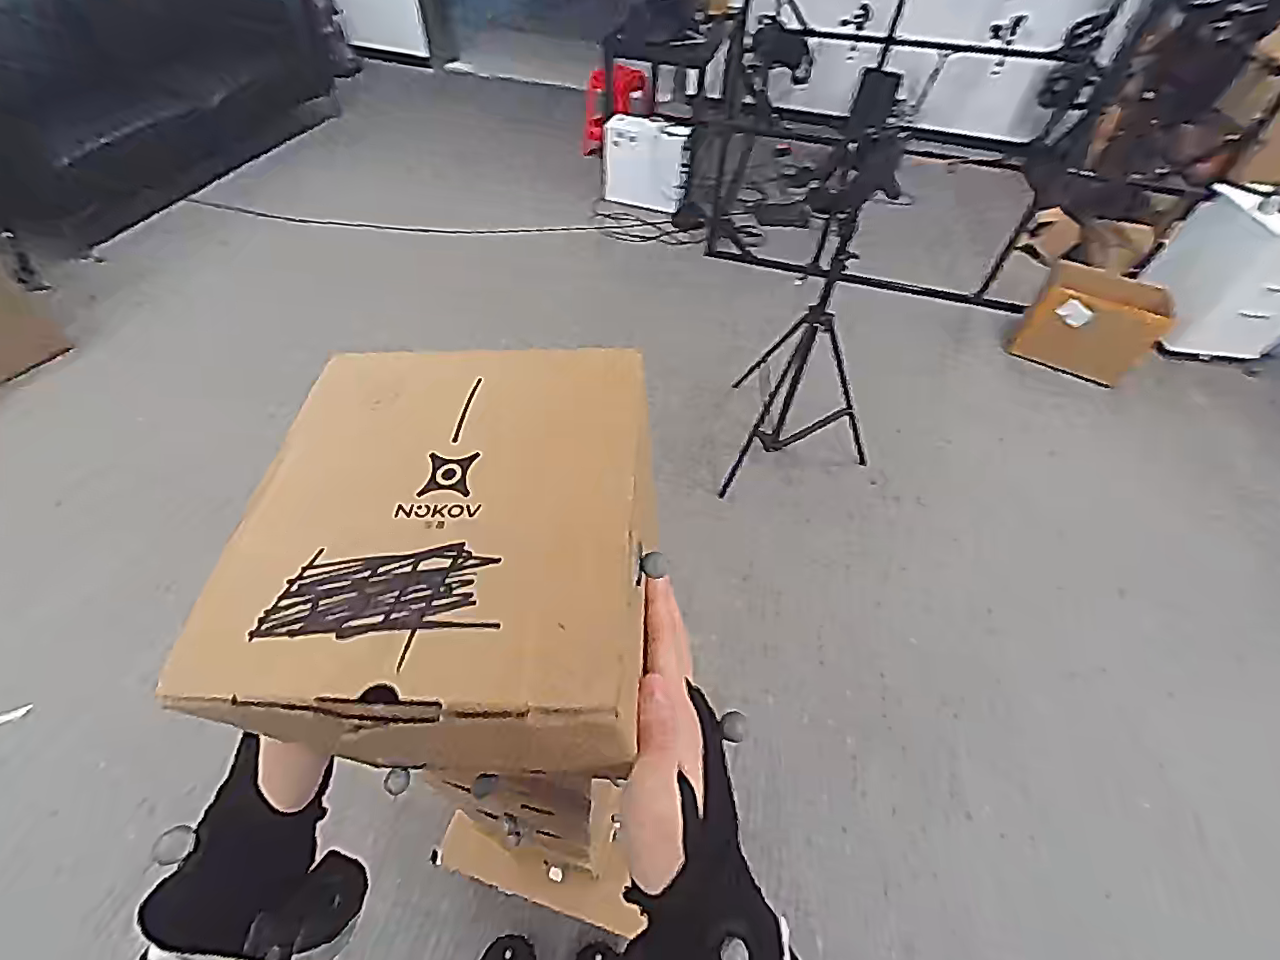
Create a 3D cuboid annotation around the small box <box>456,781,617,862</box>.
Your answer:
[{"bbox_3d":[-0.113,0.368,0.704,0.168,0.176,0.179,14,52,7],"label":"small box"}]

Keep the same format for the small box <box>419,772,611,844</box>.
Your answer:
[{"bbox_3d":[-0.104,0.262,0.579,0.168,0.176,0.179,12,52,7],"label":"small box"}]

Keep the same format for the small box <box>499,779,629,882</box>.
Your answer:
[{"bbox_3d":[-0.124,0.585,0.948,0.179,0.176,0.168,13,52,6],"label":"small box"}]

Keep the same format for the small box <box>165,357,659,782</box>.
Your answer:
[{"bbox_3d":[-0.076,0.057,0.293,0.168,0.176,0.179,0,55,5],"label":"small box"}]
